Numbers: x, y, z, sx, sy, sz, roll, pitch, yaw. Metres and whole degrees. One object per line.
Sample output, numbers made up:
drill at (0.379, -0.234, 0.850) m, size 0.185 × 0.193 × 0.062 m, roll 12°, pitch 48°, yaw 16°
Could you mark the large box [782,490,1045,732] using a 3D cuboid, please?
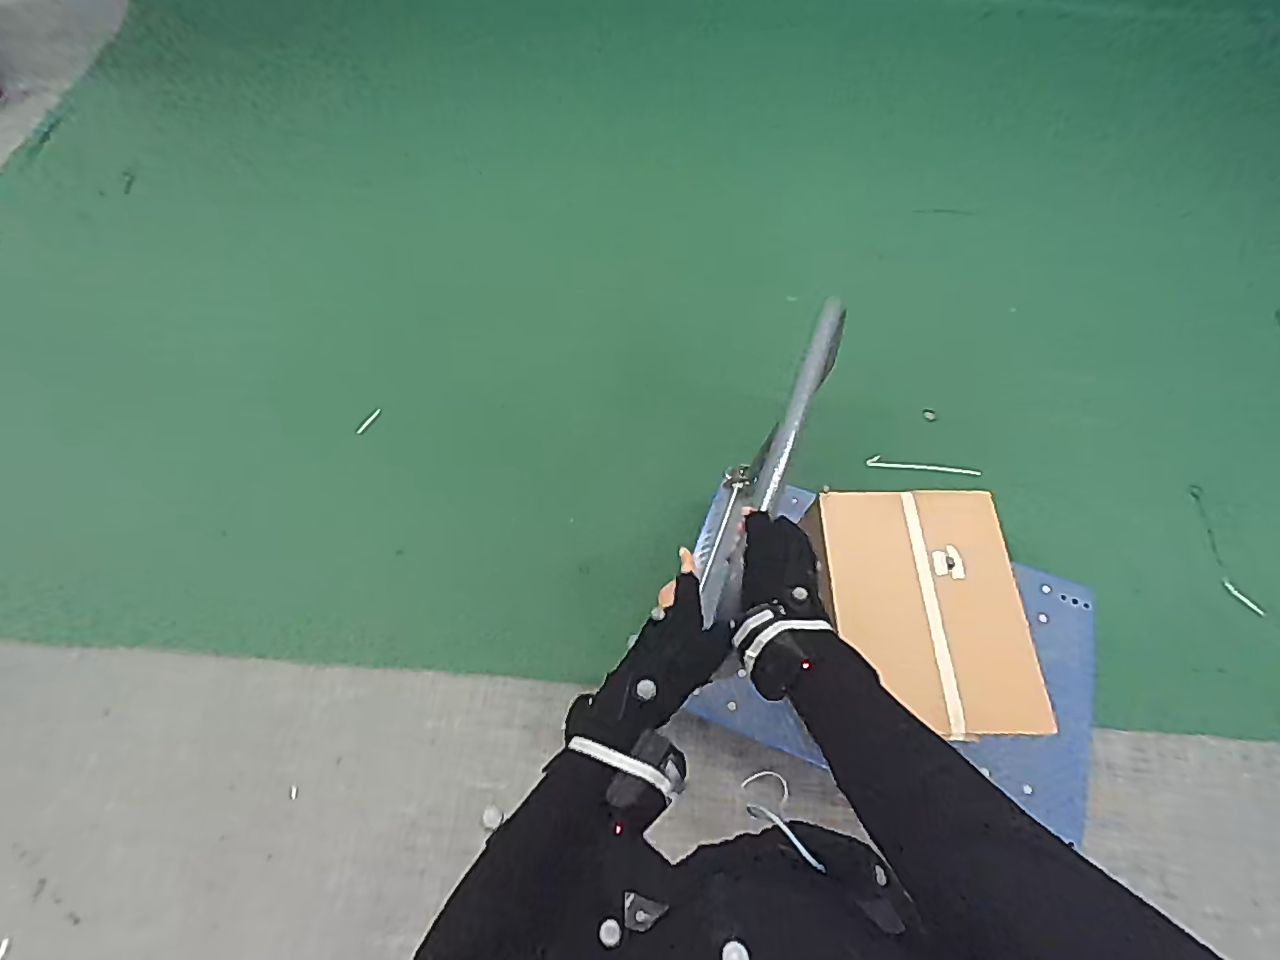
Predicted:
large box at (0.479, 0.265, 1.054) m, size 0.320 × 0.320 × 0.408 m, roll 0°, pitch 64°, yaw 1°
